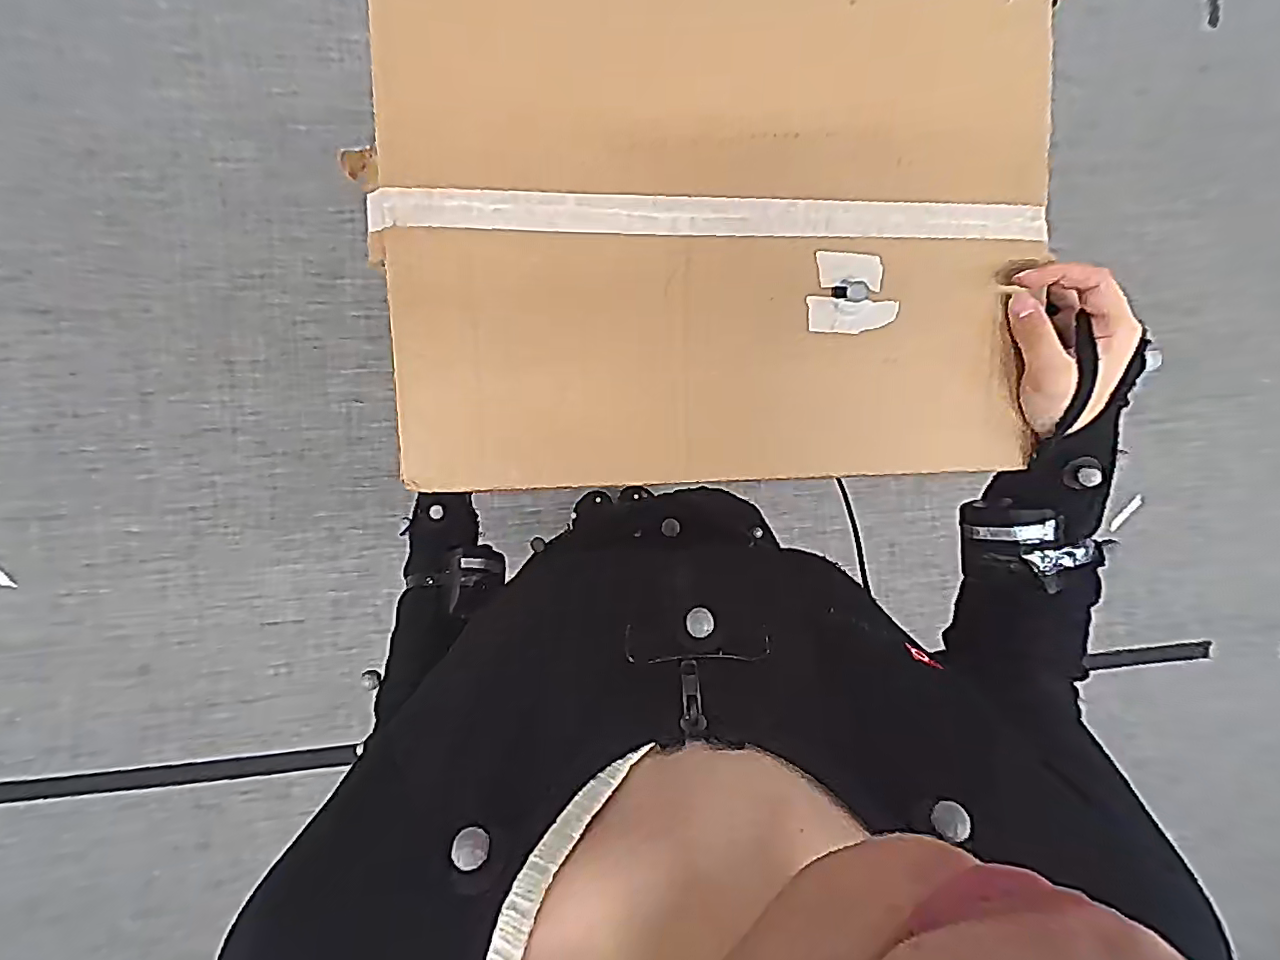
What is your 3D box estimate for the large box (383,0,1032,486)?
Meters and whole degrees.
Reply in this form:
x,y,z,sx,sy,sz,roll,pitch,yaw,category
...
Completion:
x,y,z,sx,sy,sz,roll,pitch,yaw,category
0.036,-0.172,0.477,0.408,0.320,0.320,-2,96,-9,large box
